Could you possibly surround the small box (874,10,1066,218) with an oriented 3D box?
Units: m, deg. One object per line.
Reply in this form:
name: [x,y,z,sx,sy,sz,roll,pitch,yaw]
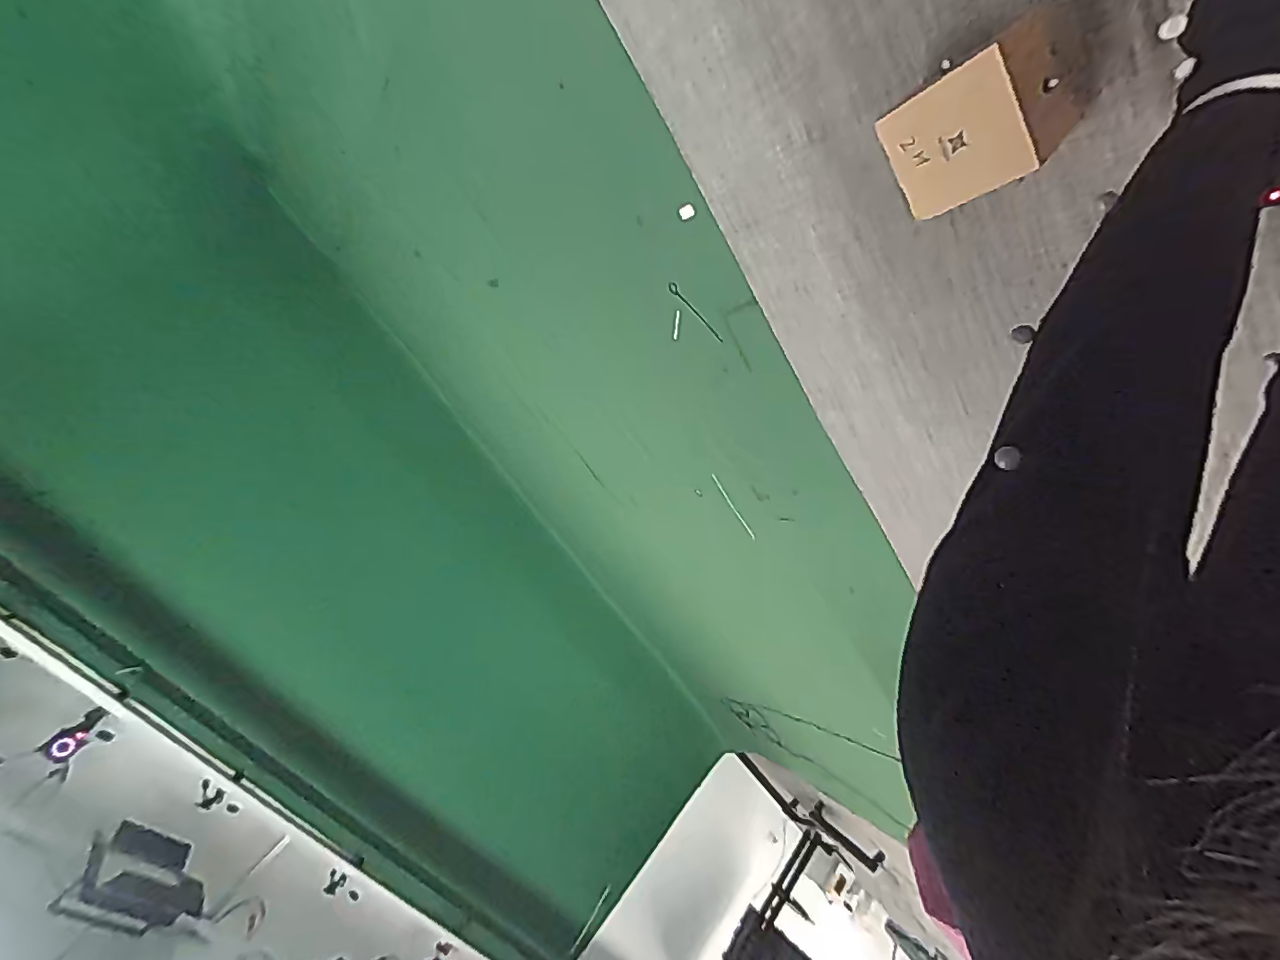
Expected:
small box: [0.492,-0.534,0.799,0.168,0.176,0.179,54,155,-19]
